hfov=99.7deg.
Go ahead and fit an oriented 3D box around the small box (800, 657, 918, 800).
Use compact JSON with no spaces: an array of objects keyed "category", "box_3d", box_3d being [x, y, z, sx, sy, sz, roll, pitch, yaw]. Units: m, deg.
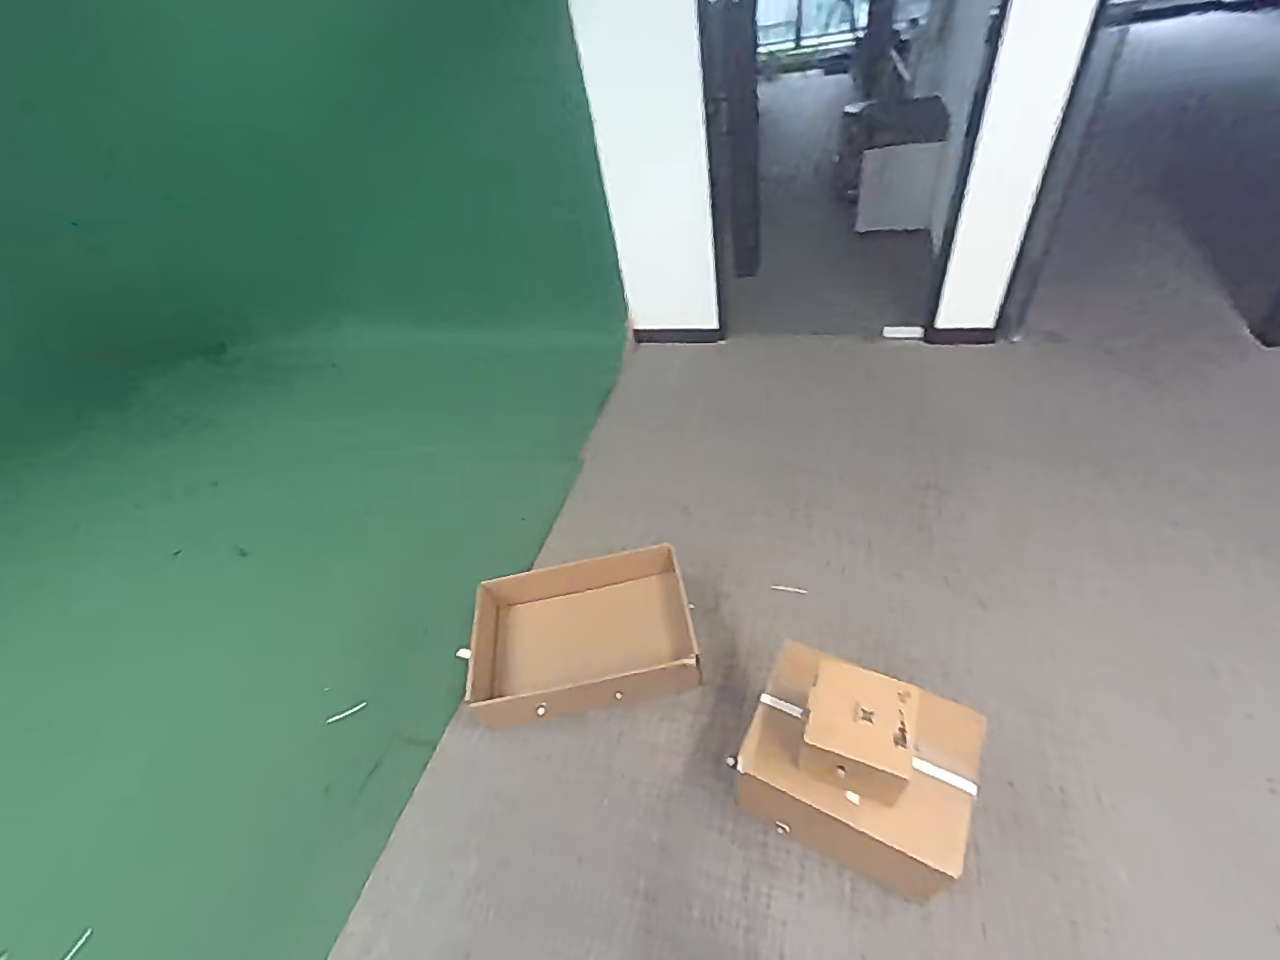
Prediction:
[{"category":"small box","box_3d":[0.403,0.465,1.008,0.179,0.176,0.168,11,49,24]}]
